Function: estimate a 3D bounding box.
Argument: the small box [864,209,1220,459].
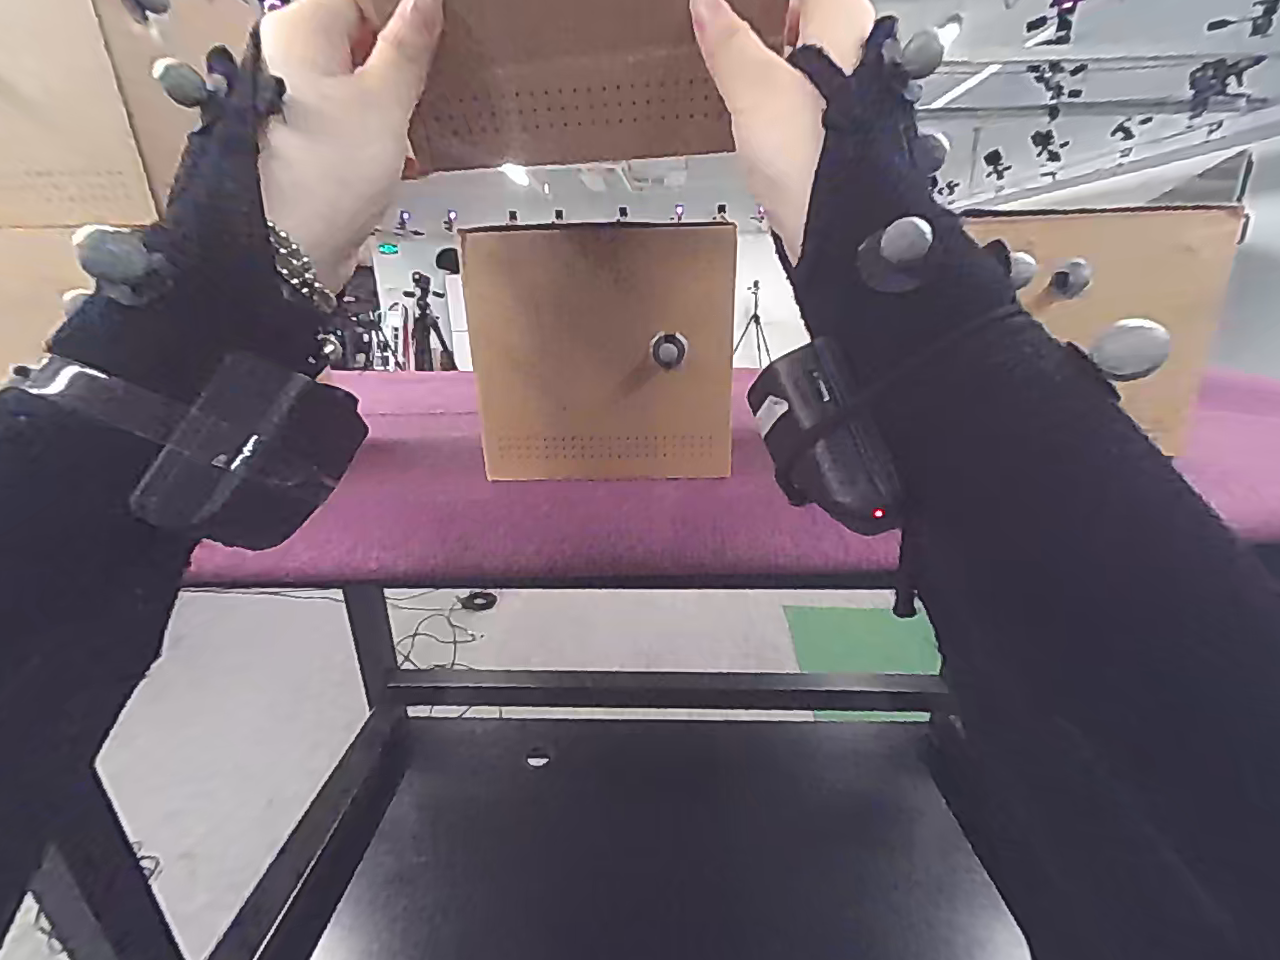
[{"bbox_3d":[0.300,-0.115,0.452,0.179,0.176,0.168,0,17,3],"label":"small box"}]

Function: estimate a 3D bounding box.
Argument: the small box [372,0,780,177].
[{"bbox_3d":[-0.028,-0.264,0.258,0.179,0.176,0.168,-2,51,2],"label":"small box"}]

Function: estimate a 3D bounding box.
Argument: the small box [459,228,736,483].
[{"bbox_3d":[-0.024,-0.101,0.437,0.179,0.176,0.168,-2,18,1],"label":"small box"}]

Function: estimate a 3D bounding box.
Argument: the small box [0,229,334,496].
[{"bbox_3d":[-0.366,-0.092,0.415,0.168,0.176,0.179,0,19,-1],"label":"small box"}]
